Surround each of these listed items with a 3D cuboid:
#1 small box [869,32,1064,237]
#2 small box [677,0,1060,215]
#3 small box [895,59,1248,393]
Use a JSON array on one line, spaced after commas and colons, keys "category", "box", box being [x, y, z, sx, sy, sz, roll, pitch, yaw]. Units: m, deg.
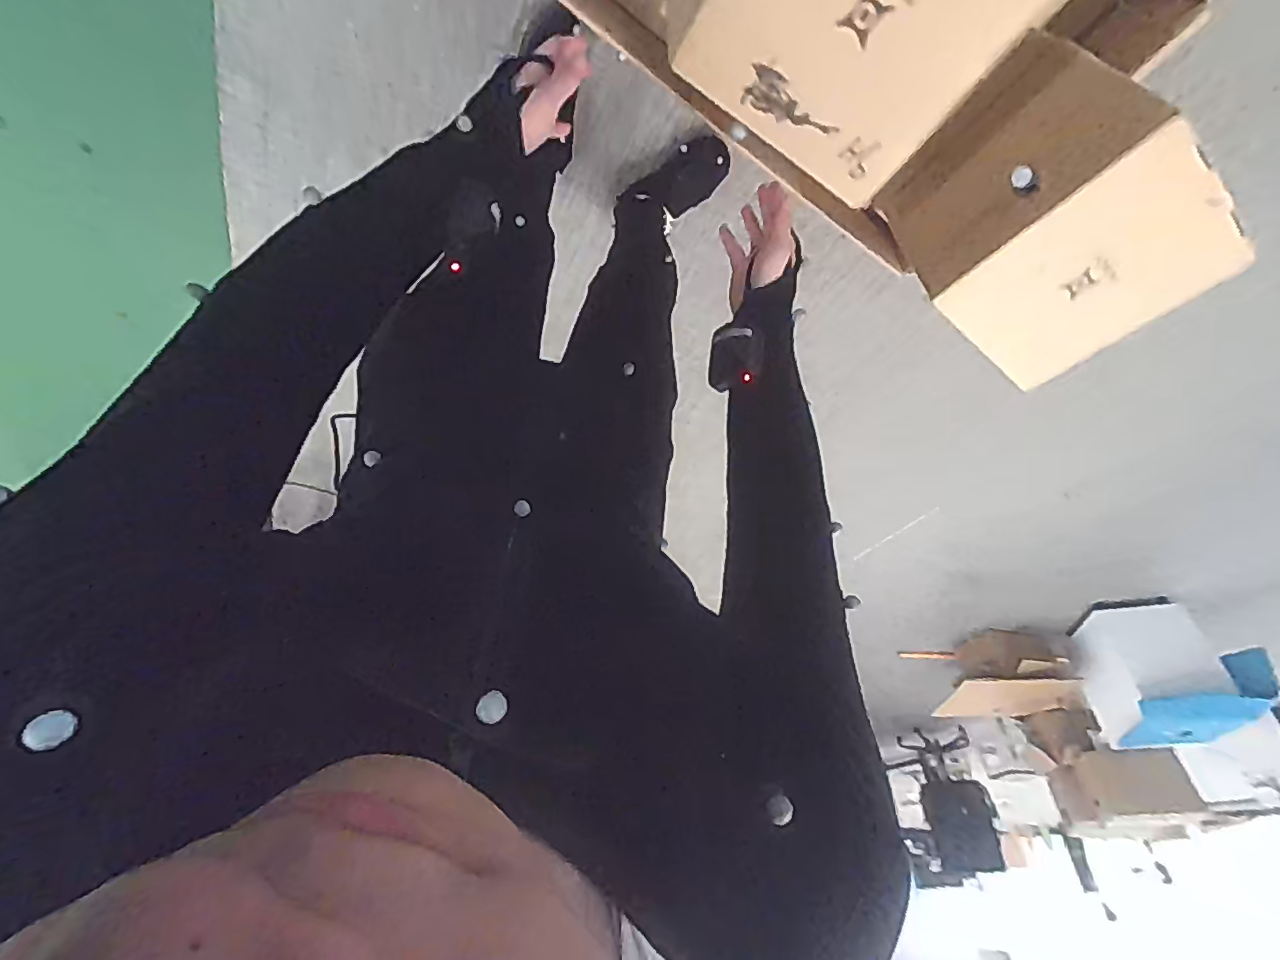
[{"category": "small box", "box": [0.359, -0.346, 0.587, 0.168, 0.176, 0.179, 26, 135, -26]}, {"category": "small box", "box": [0.134, -0.325, 0.350, 0.168, 0.176, 0.179, 22, 137, -23]}, {"category": "small box", "box": [0.357, -0.219, 0.485, 0.168, 0.176, 0.179, 26, 135, -26]}]
